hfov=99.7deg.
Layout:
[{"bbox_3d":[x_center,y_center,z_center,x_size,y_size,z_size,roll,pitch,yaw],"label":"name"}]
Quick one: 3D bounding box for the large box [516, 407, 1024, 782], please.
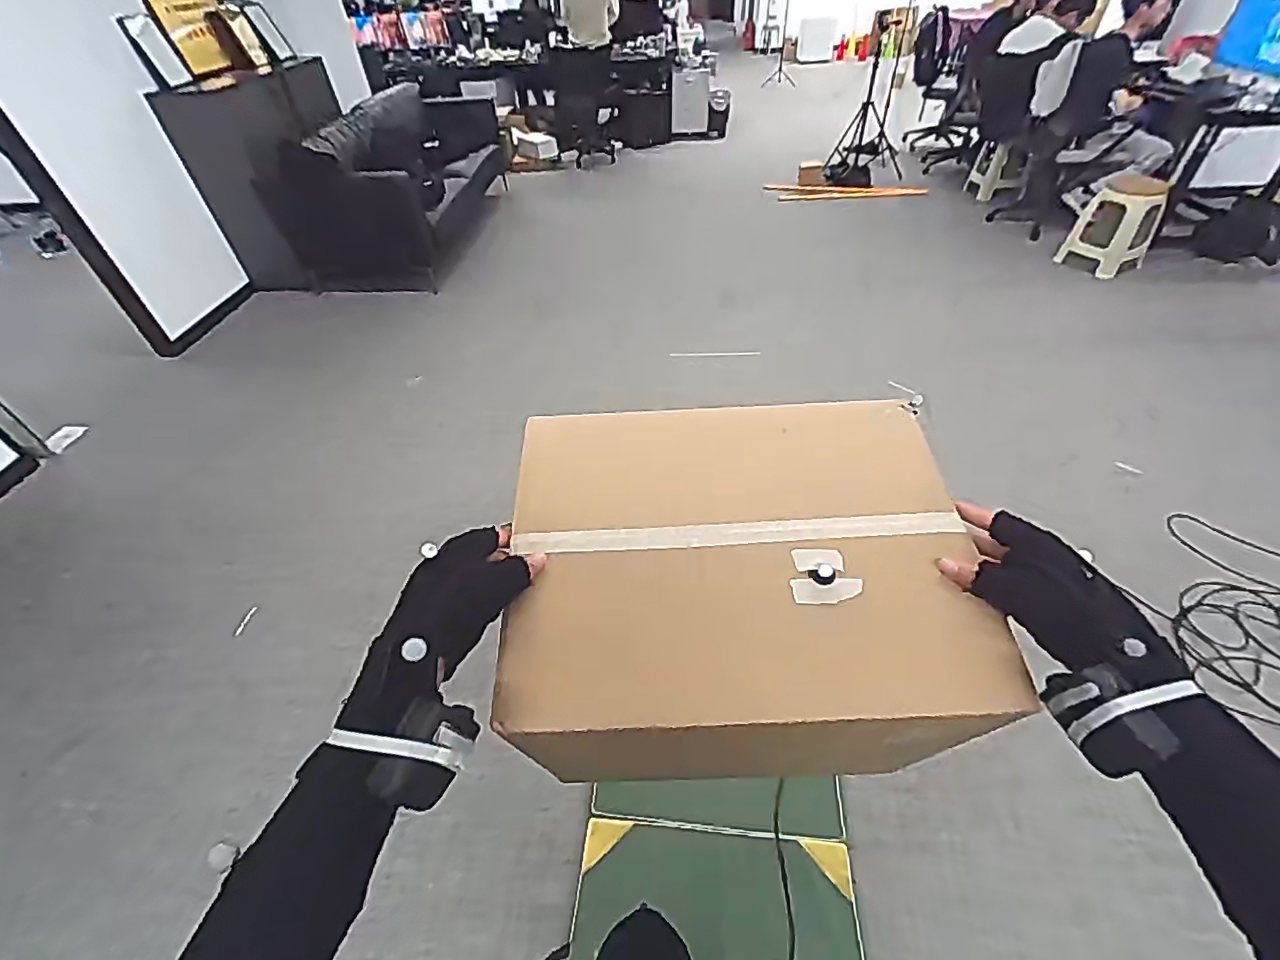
[{"bbox_3d":[0.096,0.142,0.620,0.408,0.320,0.320,-3,55,0],"label":"large box"}]
